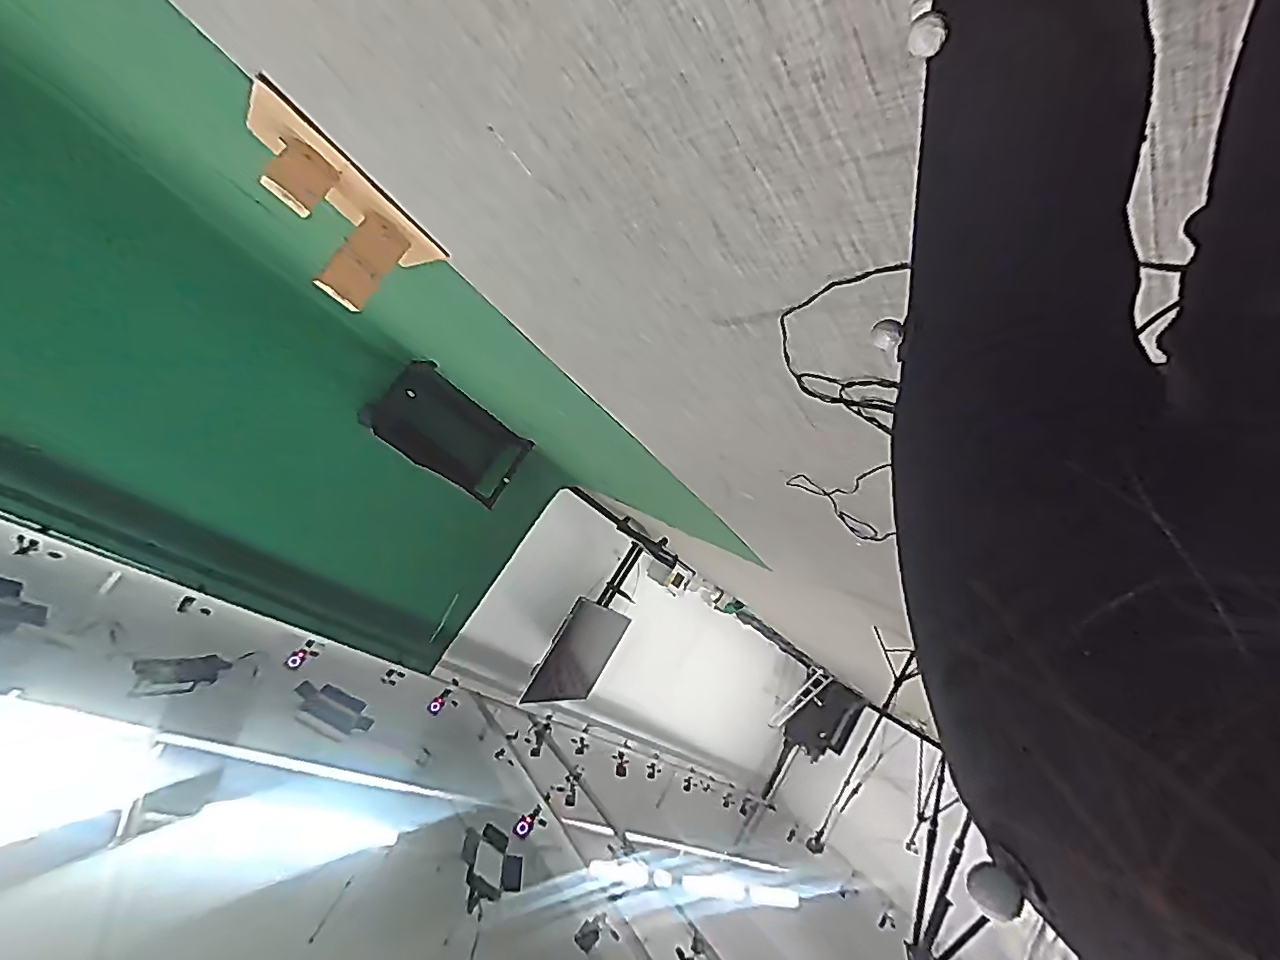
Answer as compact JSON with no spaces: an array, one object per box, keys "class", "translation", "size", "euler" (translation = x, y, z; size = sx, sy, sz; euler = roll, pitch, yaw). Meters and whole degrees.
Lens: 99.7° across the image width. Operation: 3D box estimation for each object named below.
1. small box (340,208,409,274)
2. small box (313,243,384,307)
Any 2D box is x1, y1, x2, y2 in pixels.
[{"class":"small box","translation":[-1.032,-0.926,2.107],"size":[0.168,0.176,0.179],"euler":[39,169,-38]},{"class":"small box","translation":[-1.119,-0.789,2.082],"size":[0.179,0.176,0.168],"euler":[23,167,49]}]
